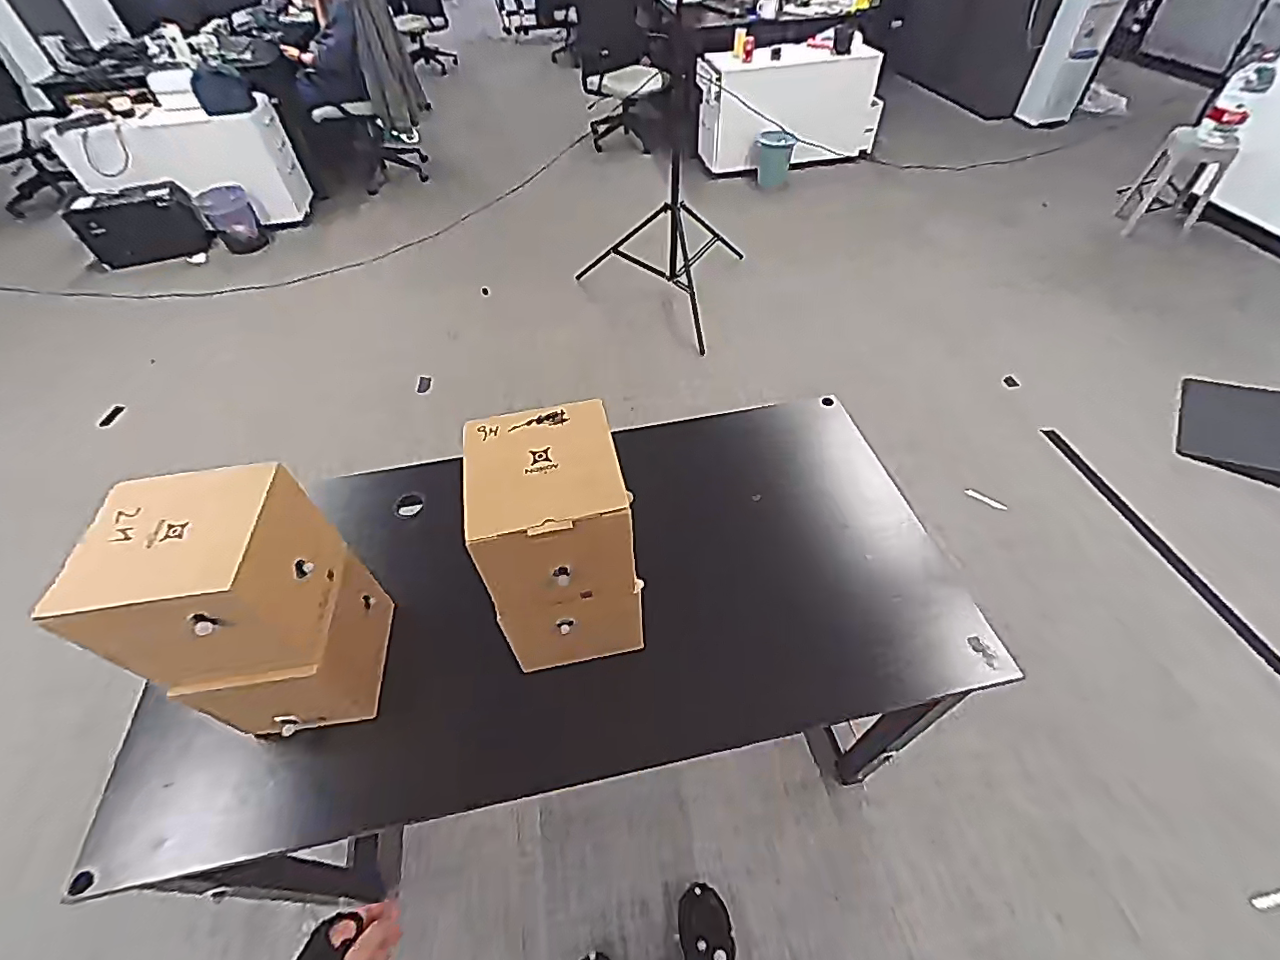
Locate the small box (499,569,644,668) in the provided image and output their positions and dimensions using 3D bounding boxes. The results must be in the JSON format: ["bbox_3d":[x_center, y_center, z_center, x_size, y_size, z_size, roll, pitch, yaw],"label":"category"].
[{"bbox_3d":[-0.095,0.146,0.764,0.179,0.176,0.168,-10,50,-7],"label":"small box"}]

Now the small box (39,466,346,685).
[{"bbox_3d":[-0.460,0.108,0.599,0.179,0.176,0.168,-8,49,-3],"label":"small box"}]

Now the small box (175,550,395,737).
[{"bbox_3d":[-0.447,0.219,0.721,0.168,0.176,0.179,-9,51,-3],"label":"small box"}]

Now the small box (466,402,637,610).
[{"bbox_3d":[-0.101,0.038,0.642,0.168,0.176,0.179,-11,51,-6],"label":"small box"}]
